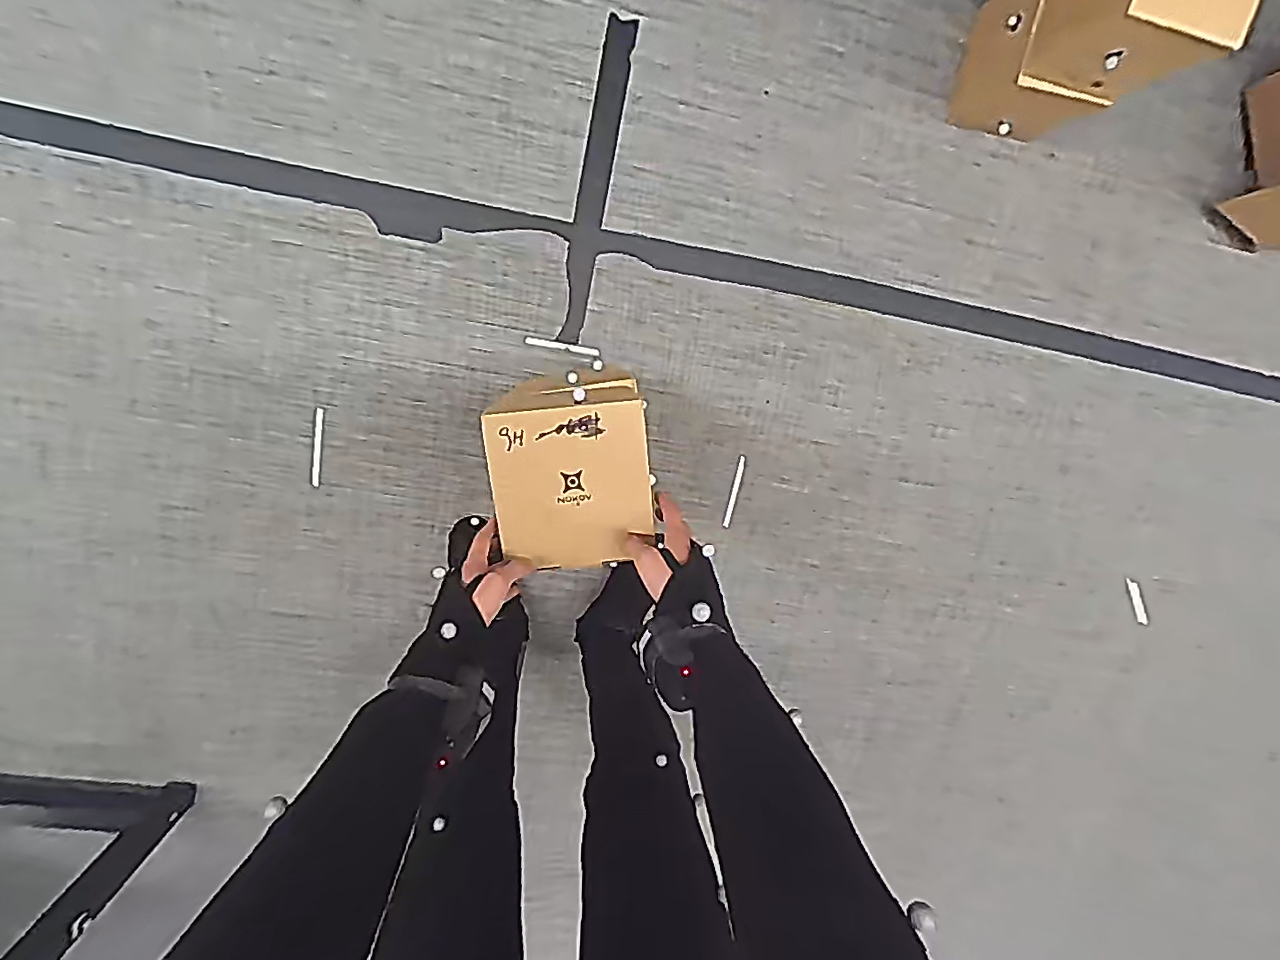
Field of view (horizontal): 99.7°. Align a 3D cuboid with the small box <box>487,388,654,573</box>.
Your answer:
[{"bbox_3d":[-0.075,-0.009,0.649,0.168,0.176,0.179,-6,105,-4],"label":"small box"}]
